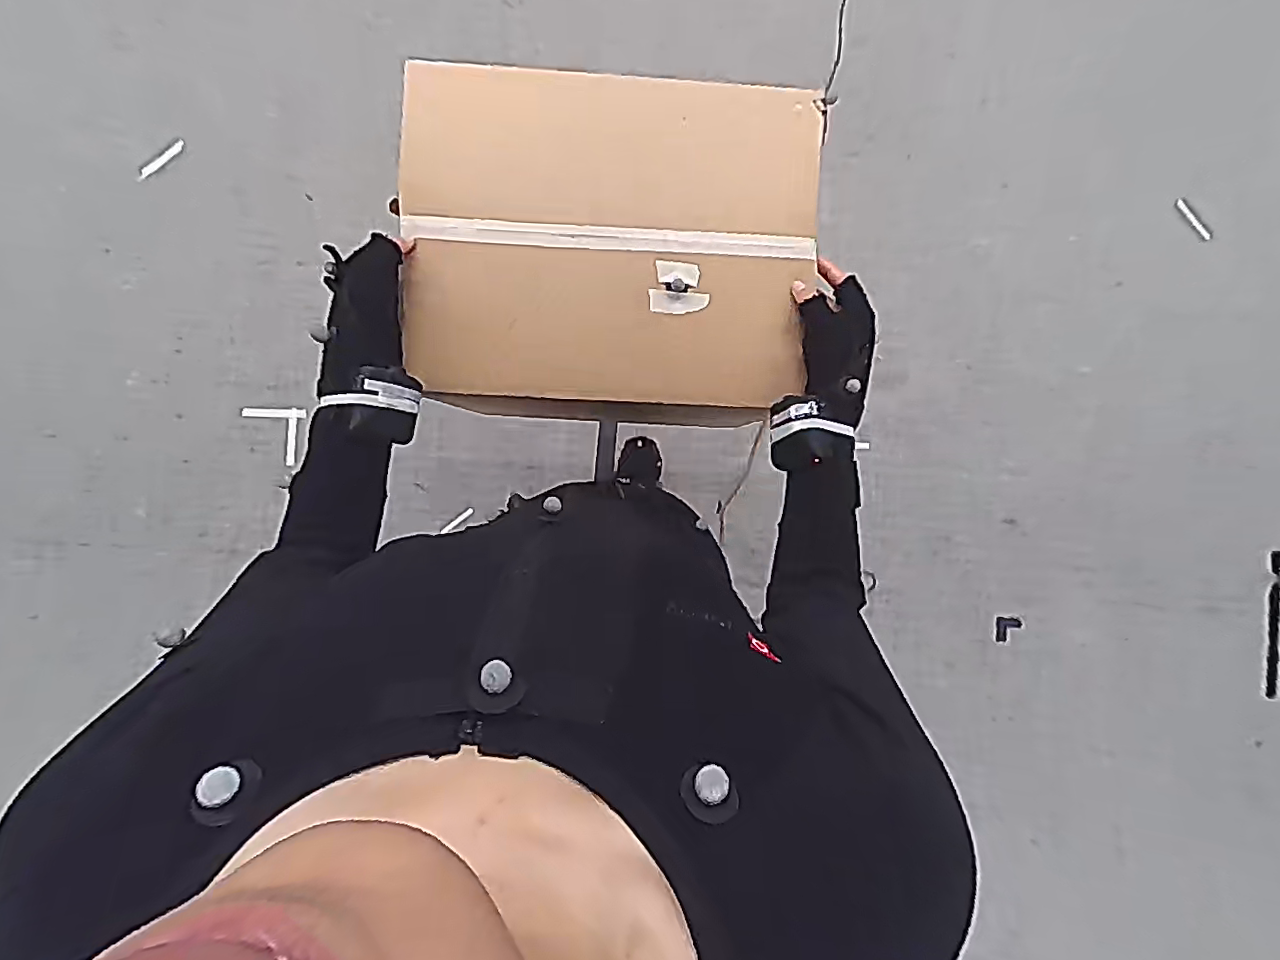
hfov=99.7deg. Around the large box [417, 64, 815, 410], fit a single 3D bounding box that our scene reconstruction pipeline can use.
[{"bbox_3d":[-0.032,-0.259,0.694,0.408,0.320,0.320,2,93,-3],"label":"large box"}]
